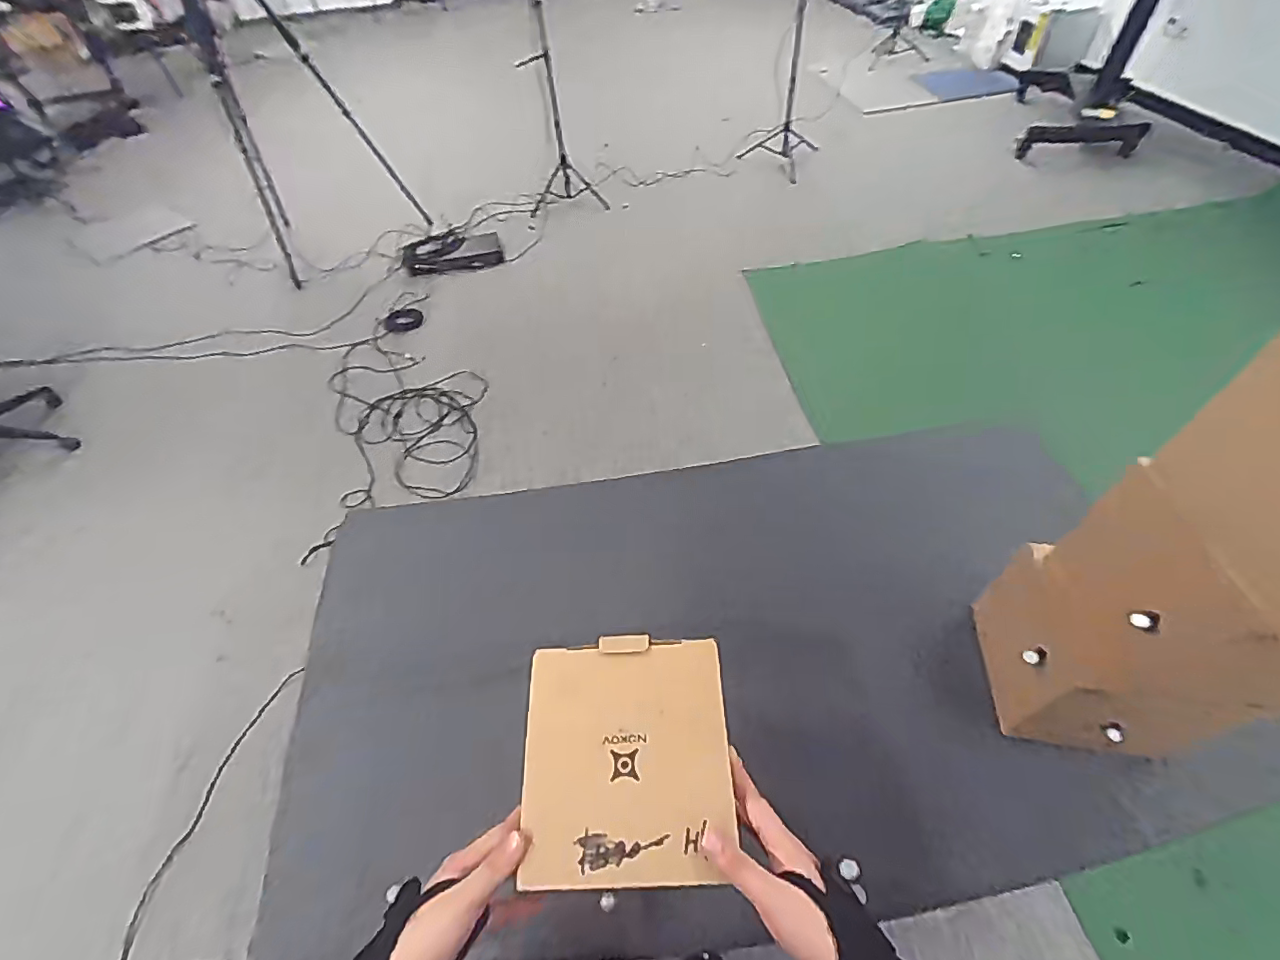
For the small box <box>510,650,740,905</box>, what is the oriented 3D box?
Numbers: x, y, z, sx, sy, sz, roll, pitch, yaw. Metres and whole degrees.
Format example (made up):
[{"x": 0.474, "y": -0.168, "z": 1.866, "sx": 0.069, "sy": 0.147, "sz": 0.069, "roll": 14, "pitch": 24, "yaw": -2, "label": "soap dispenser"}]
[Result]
[{"x": -0.005, "y": 0.267, "z": 0.490, "sx": 0.168, "sy": 0.176, "sz": 0.179, "roll": -5, "pitch": 57, "yaw": 5, "label": "small box"}]

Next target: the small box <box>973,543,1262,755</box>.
[{"x": 0.519, "y": 0.198, "z": 0.625, "sx": 0.168, "sy": 0.176, "sz": 0.179, "roll": 5, "pitch": 50, "yaw": 9, "label": "small box"}]
